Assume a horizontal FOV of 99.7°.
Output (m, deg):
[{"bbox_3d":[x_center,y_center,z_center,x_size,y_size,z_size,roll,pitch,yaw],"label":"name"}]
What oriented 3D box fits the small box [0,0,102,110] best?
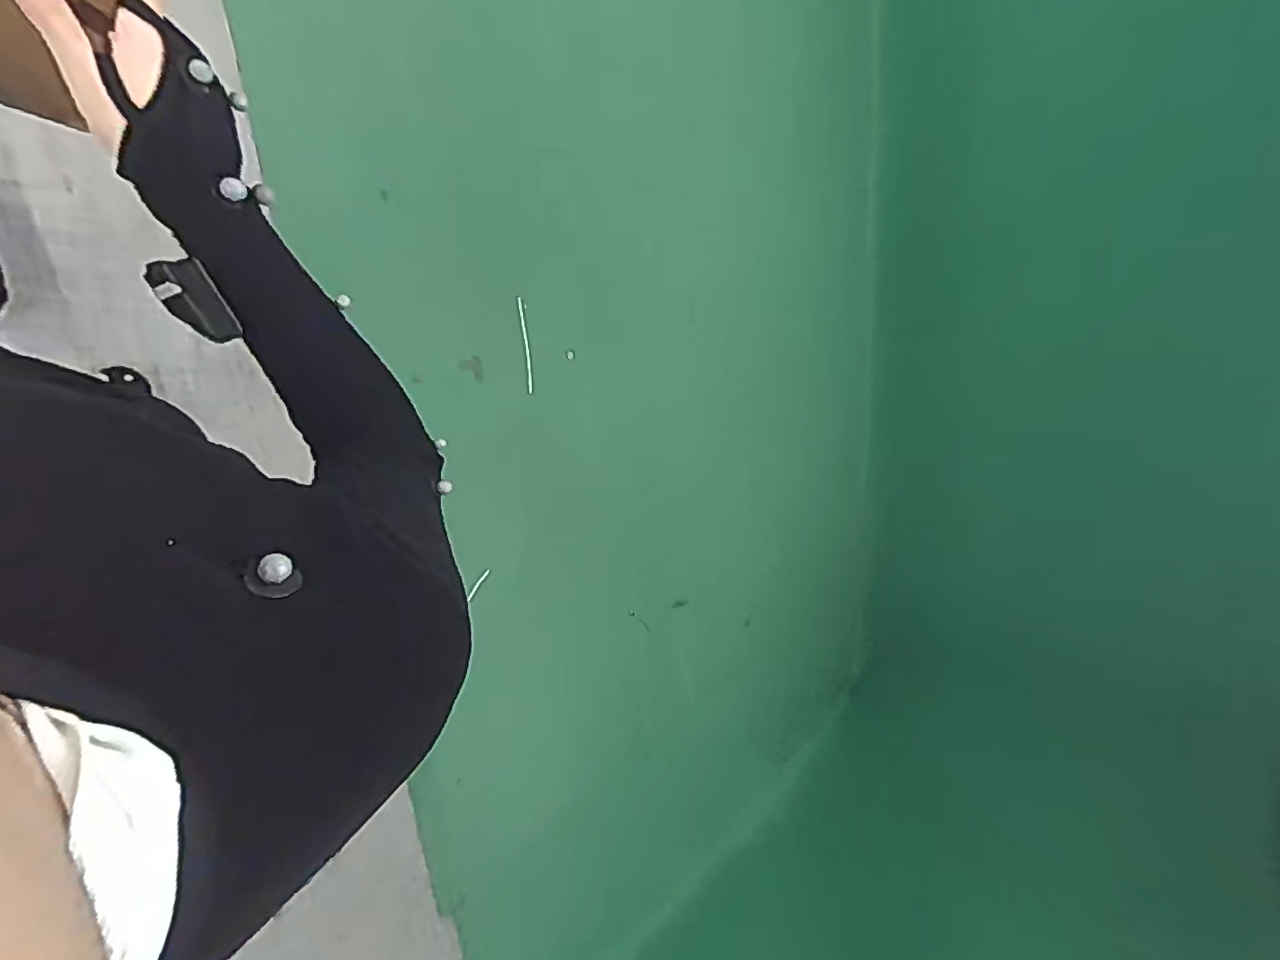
[{"bbox_3d":[-0.461,-0.388,0.339,0.168,0.176,0.179,-1,92,-48],"label":"small box"}]
